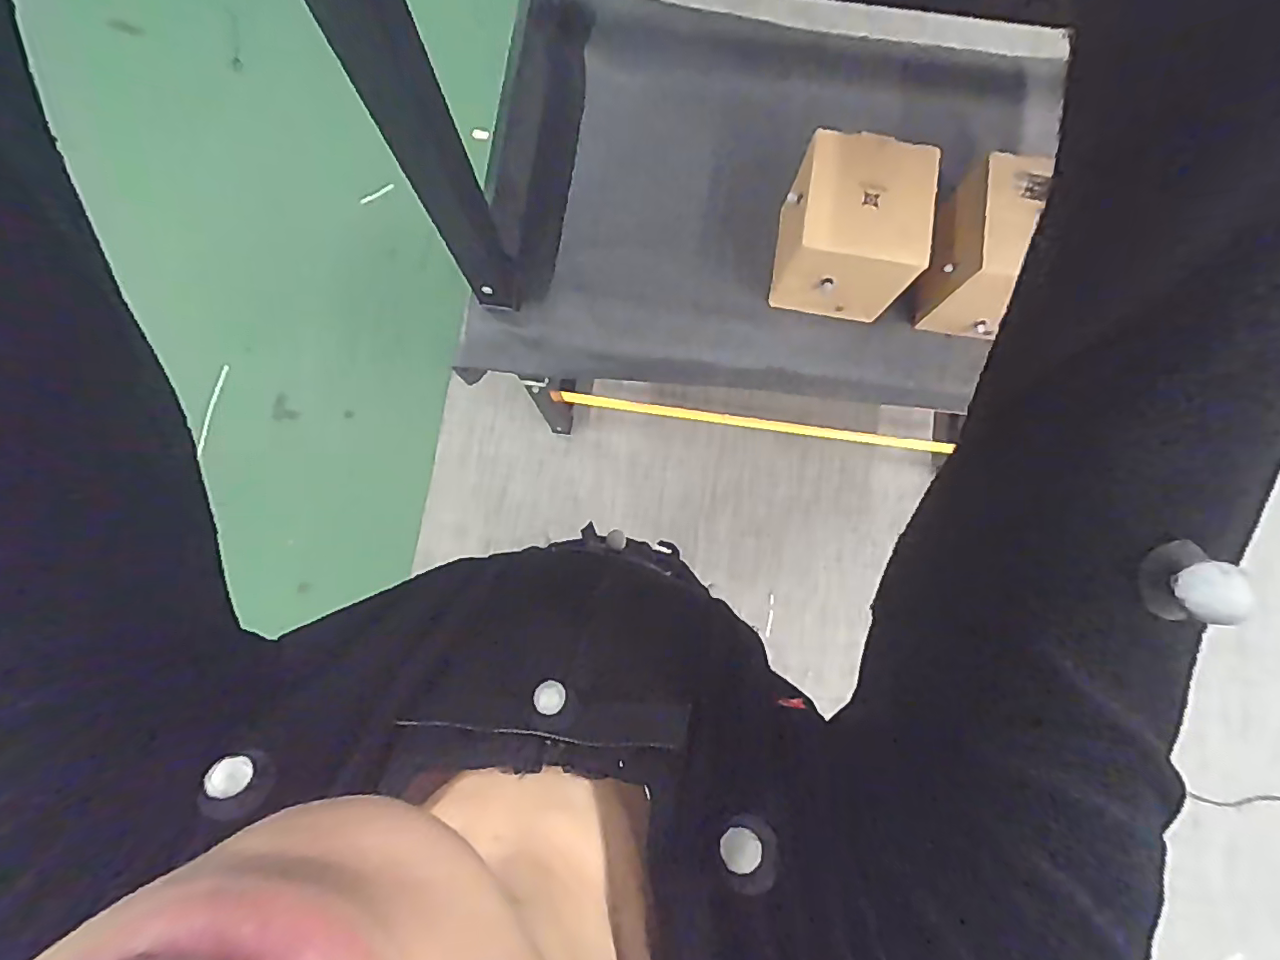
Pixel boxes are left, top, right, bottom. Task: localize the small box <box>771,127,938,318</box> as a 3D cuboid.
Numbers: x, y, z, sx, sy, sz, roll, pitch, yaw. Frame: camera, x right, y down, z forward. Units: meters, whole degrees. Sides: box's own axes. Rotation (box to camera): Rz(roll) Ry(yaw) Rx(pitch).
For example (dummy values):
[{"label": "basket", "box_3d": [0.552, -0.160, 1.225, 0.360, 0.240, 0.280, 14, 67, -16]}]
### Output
[{"label": "small box", "box_3d": [0.294, -0.355, 0.775, 0.168, 0.176, 0.179, 10, 80, 1]}]
